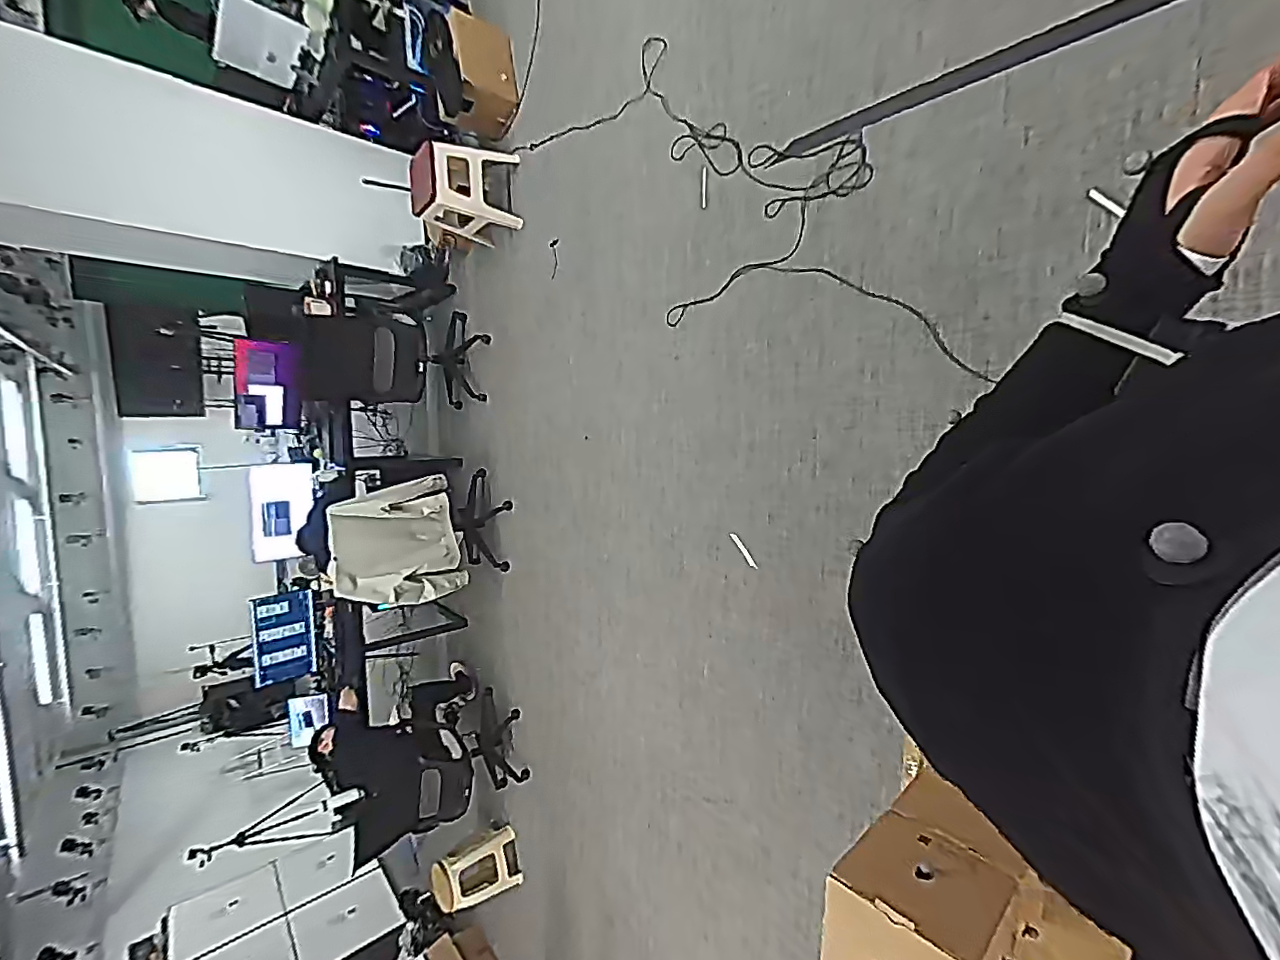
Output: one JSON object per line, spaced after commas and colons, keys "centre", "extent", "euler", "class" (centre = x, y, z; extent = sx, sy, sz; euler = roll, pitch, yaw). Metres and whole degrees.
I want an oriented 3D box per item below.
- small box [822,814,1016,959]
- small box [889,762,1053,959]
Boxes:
{"centre": [0.347, 0.567, 0.675], "extent": [0.168, 0.176, 0.179], "euler": [9, 100, 47], "class": "small box"}
{"centre": [0.472, 0.553, 0.780], "extent": [0.168, 0.176, 0.179], "euler": [7, 99, 47], "class": "small box"}
